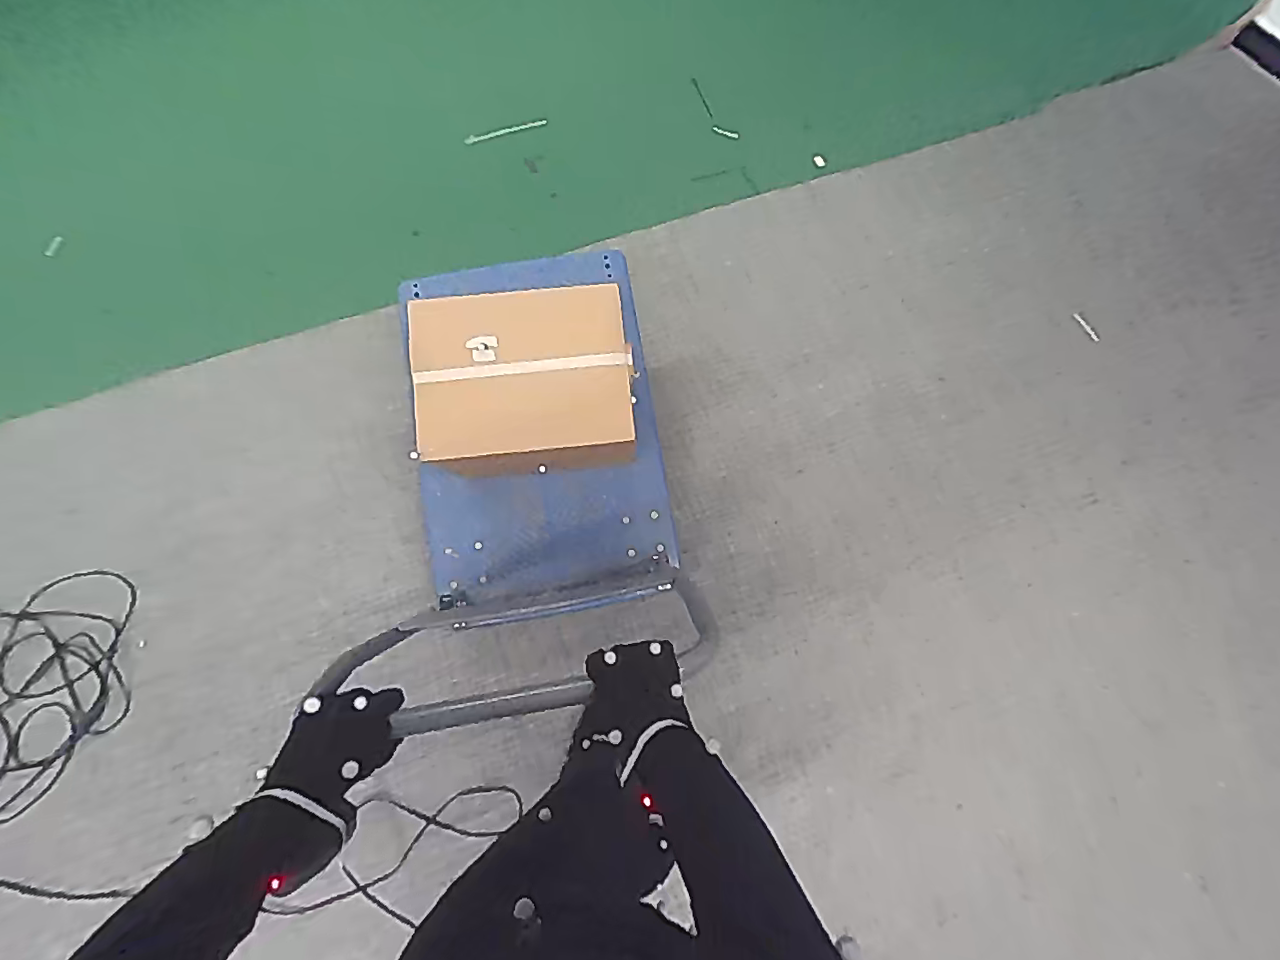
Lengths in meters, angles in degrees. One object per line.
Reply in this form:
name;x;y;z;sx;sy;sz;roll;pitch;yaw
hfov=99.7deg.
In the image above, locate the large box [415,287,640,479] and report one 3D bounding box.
large box;-0.216;-0.184;1.167;0.408;0.320;0.320;-6;84;-1
